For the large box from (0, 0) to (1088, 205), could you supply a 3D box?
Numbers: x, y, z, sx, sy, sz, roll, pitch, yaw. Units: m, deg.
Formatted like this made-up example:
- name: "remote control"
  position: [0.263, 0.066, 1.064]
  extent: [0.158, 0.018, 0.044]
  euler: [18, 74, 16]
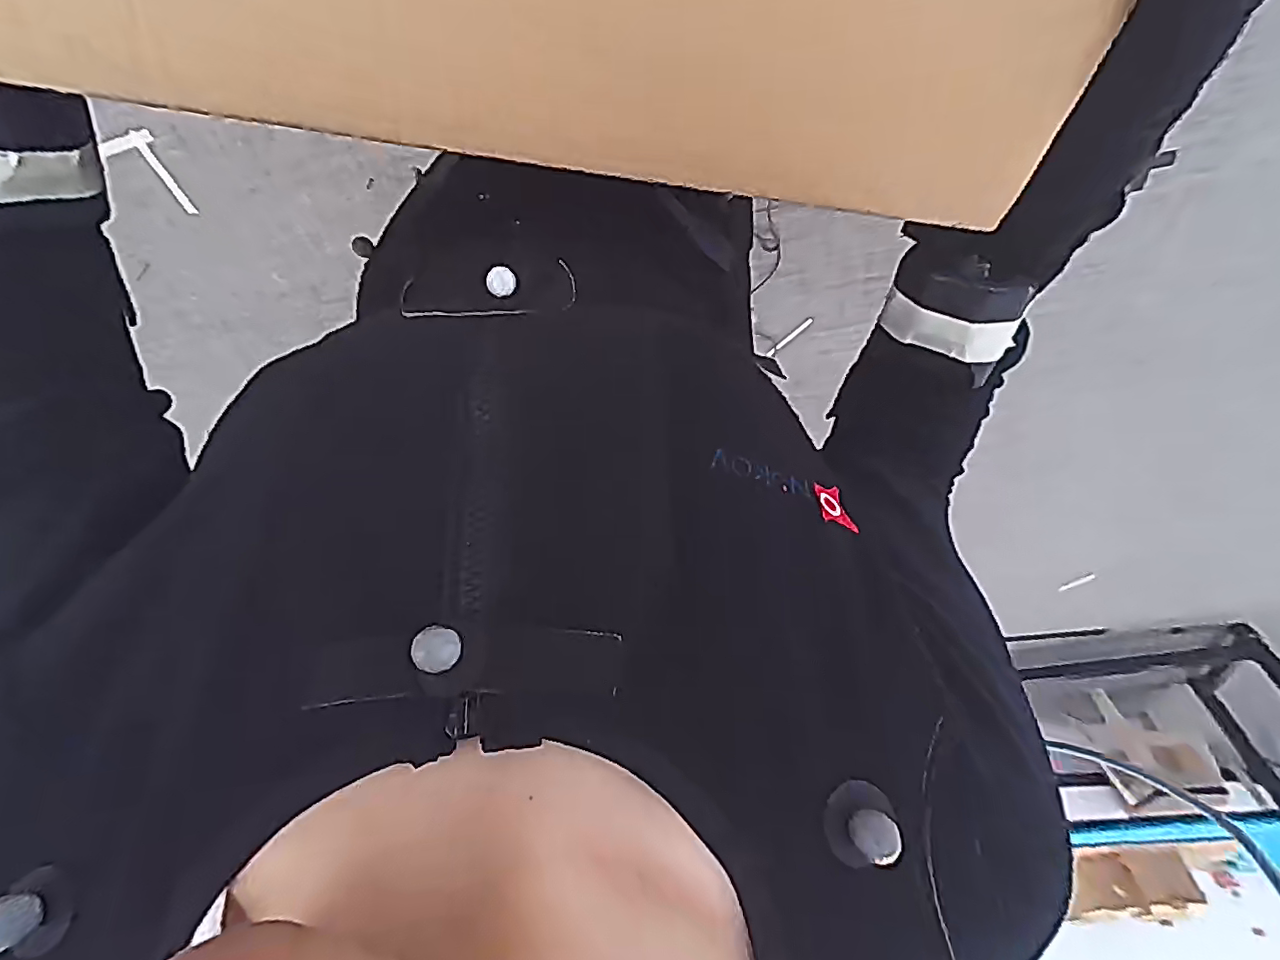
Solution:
- name: "large box"
  position: [-0.030, -0.346, 0.201]
  extent: [0.408, 0.320, 0.320]
  euler: [5, 138, -6]
